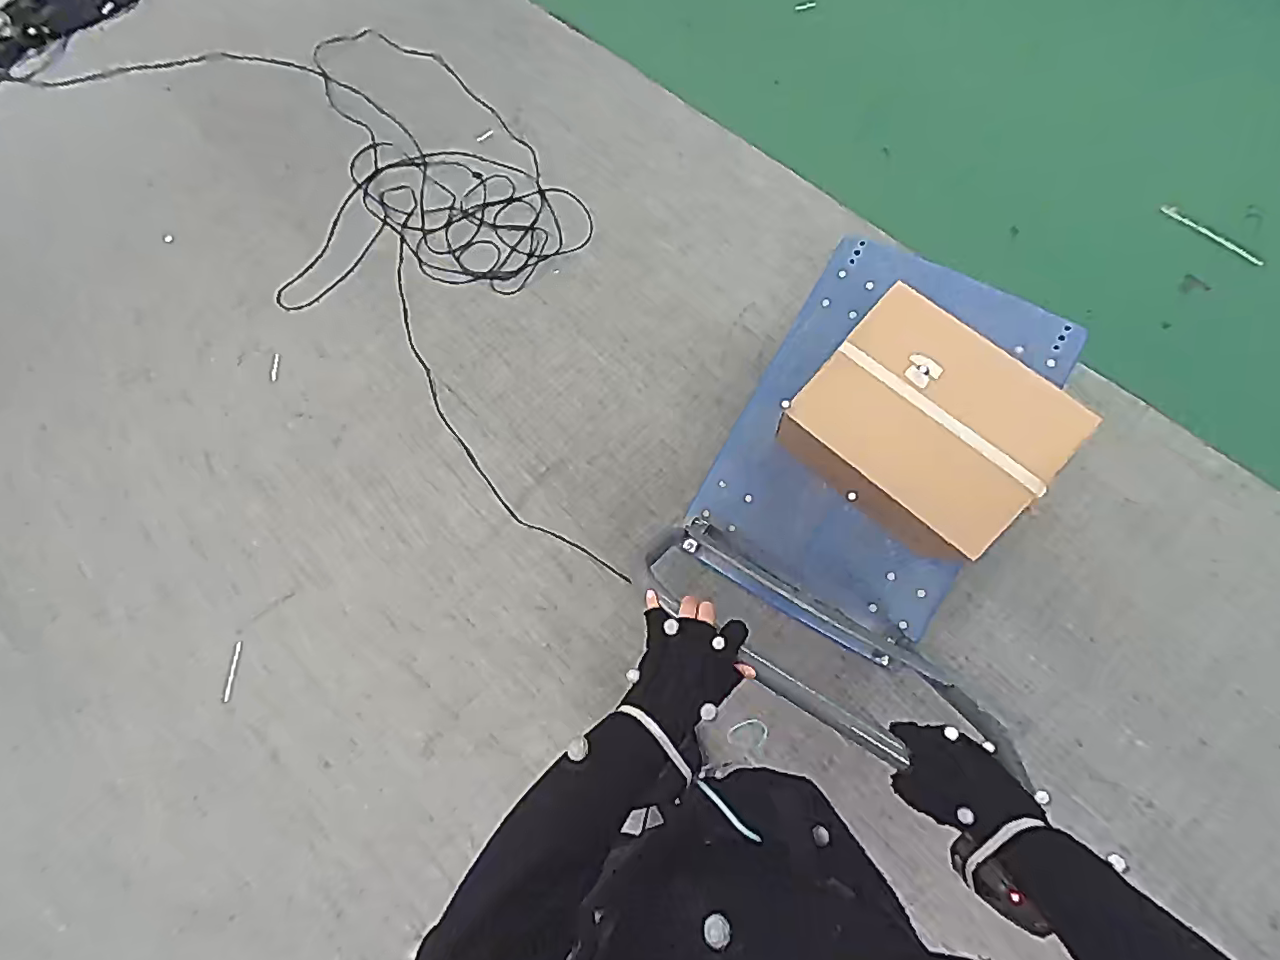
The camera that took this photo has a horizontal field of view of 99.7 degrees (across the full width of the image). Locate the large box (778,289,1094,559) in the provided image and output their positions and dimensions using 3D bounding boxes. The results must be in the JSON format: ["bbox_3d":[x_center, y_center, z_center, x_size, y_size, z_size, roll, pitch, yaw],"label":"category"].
[{"bbox_3d":[0.533,-0.090,1.077,0.408,0.320,0.320,42,93,13],"label":"large box"}]
